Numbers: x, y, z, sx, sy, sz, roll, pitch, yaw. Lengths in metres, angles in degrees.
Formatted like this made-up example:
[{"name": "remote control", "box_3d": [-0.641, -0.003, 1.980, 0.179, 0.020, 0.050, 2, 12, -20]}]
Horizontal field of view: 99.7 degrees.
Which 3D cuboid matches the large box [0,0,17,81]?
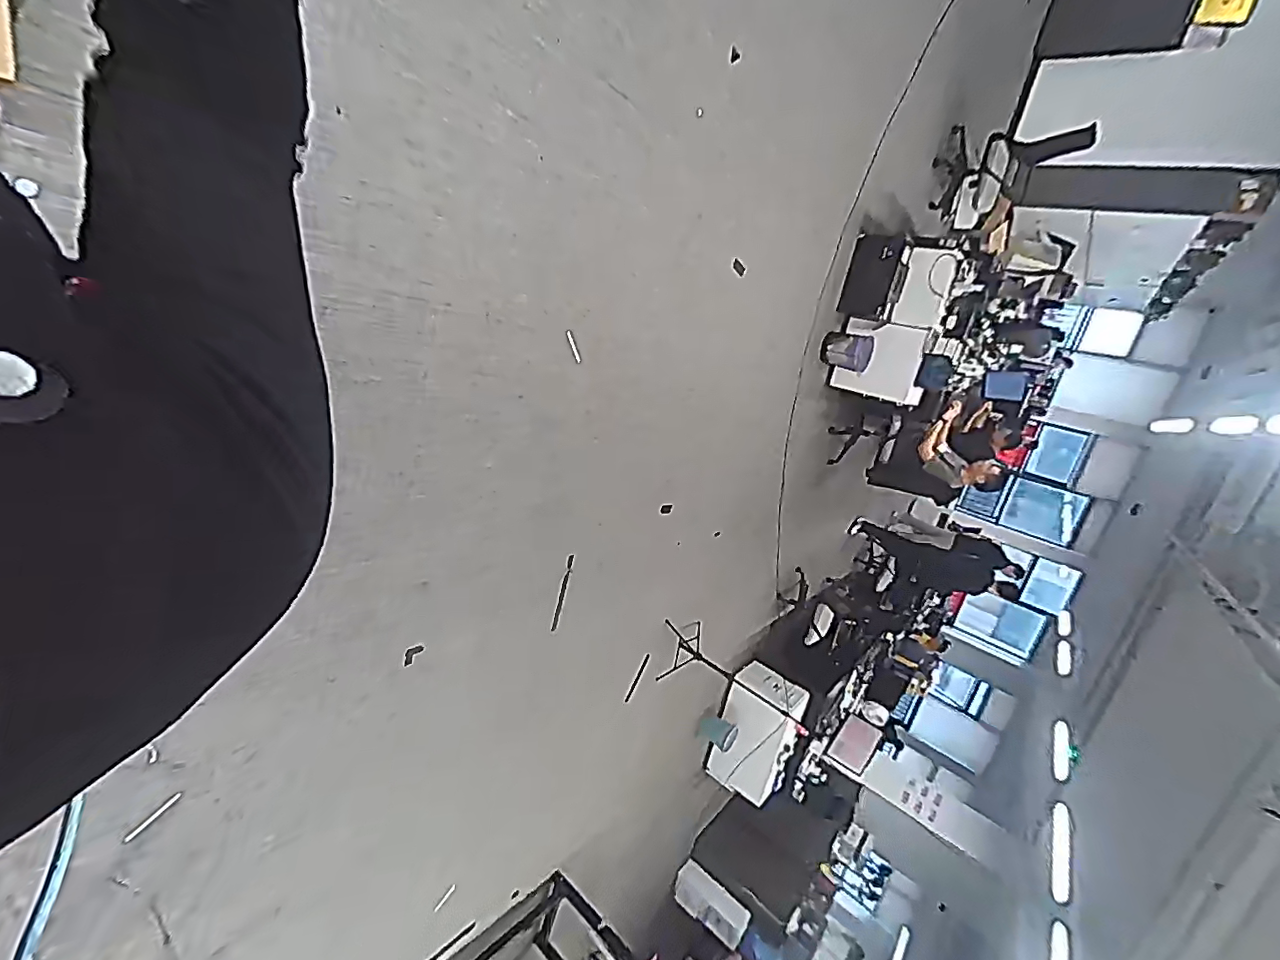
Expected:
[{"name": "large box", "box_3d": [-1.038, -0.708, 0.604, 0.408, 0.320, 0.320, -10, 118, -52]}]
